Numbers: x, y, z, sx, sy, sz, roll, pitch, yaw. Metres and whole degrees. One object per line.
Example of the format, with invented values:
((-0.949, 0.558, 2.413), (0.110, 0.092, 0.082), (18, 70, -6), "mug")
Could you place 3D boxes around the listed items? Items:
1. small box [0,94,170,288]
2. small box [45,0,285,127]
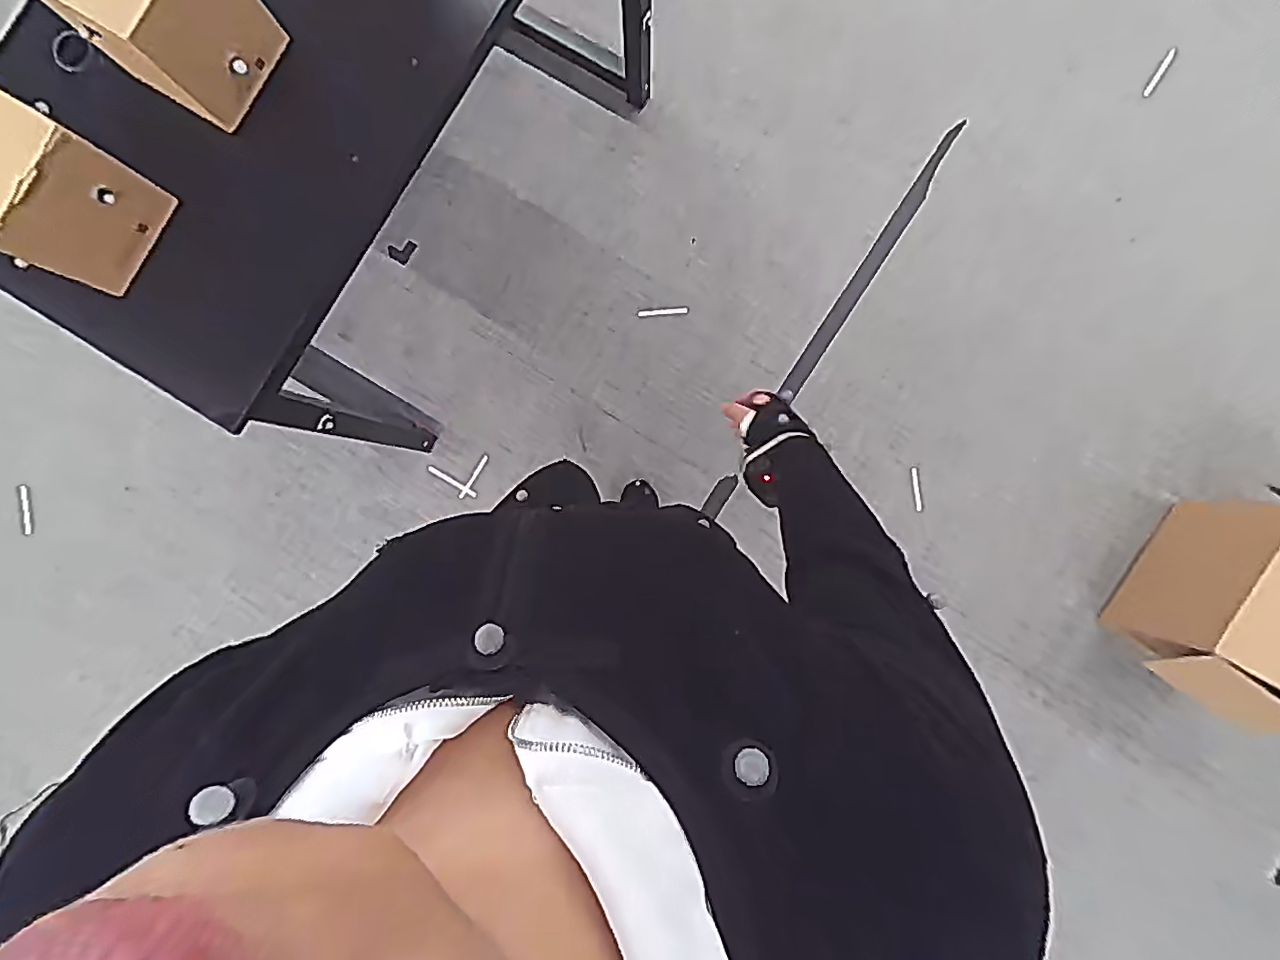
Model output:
((-0.787, -0.378, 0.707), (0.179, 0.176, 0.168), (30, 87, 1), "small box")
((-0.629, -0.618, 0.712), (0.179, 0.176, 0.168), (31, 89, 0), "small box")
